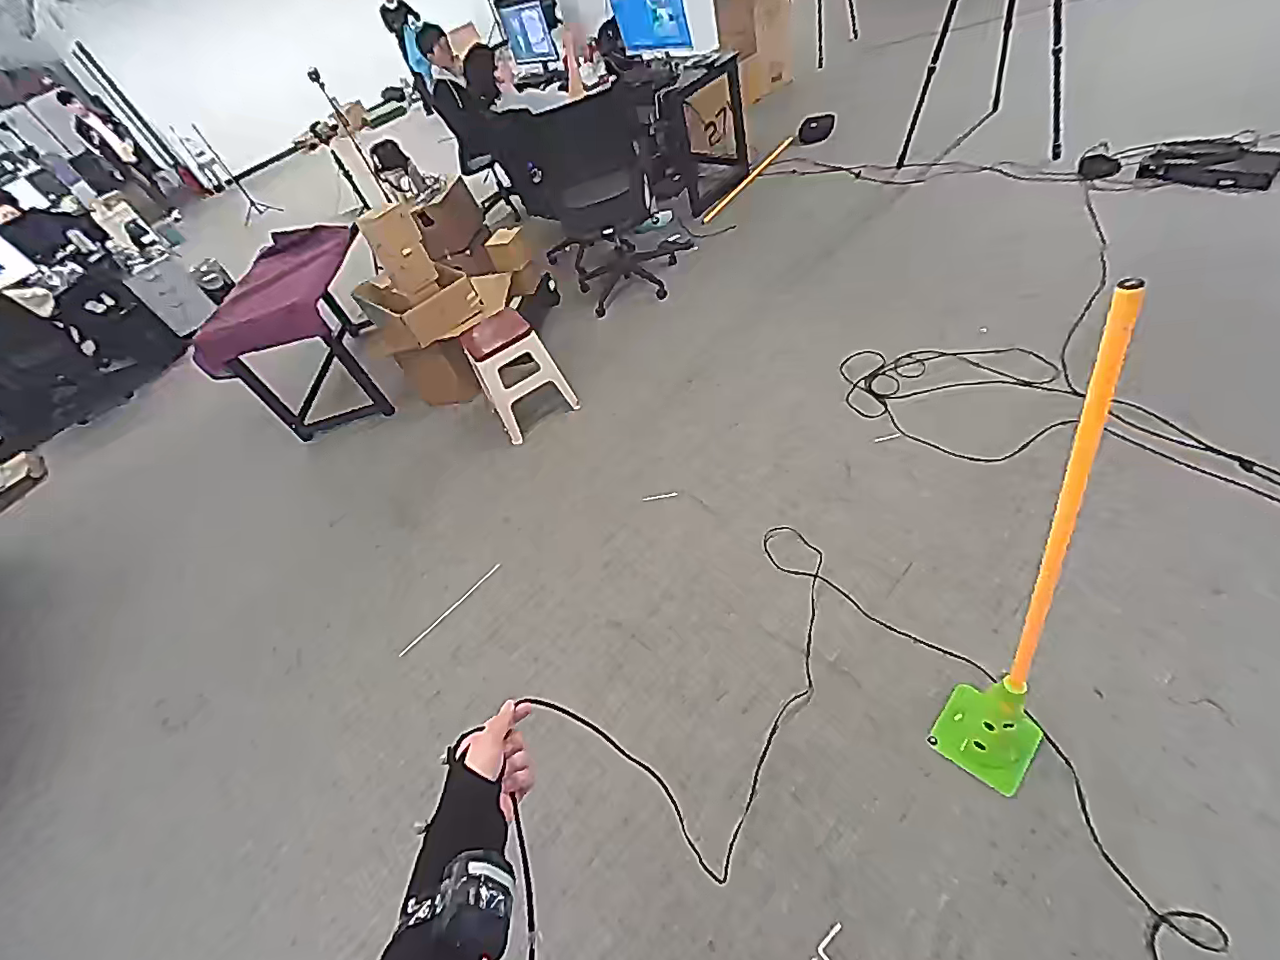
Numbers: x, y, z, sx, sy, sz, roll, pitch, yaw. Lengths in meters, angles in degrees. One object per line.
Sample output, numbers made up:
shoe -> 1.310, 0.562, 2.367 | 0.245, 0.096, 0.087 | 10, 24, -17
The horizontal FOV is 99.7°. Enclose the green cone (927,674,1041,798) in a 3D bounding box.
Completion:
green cone -> 0.808, 0.530, 1.215 | 0.200, 0.368, 0.202 | 28, 63, 36
